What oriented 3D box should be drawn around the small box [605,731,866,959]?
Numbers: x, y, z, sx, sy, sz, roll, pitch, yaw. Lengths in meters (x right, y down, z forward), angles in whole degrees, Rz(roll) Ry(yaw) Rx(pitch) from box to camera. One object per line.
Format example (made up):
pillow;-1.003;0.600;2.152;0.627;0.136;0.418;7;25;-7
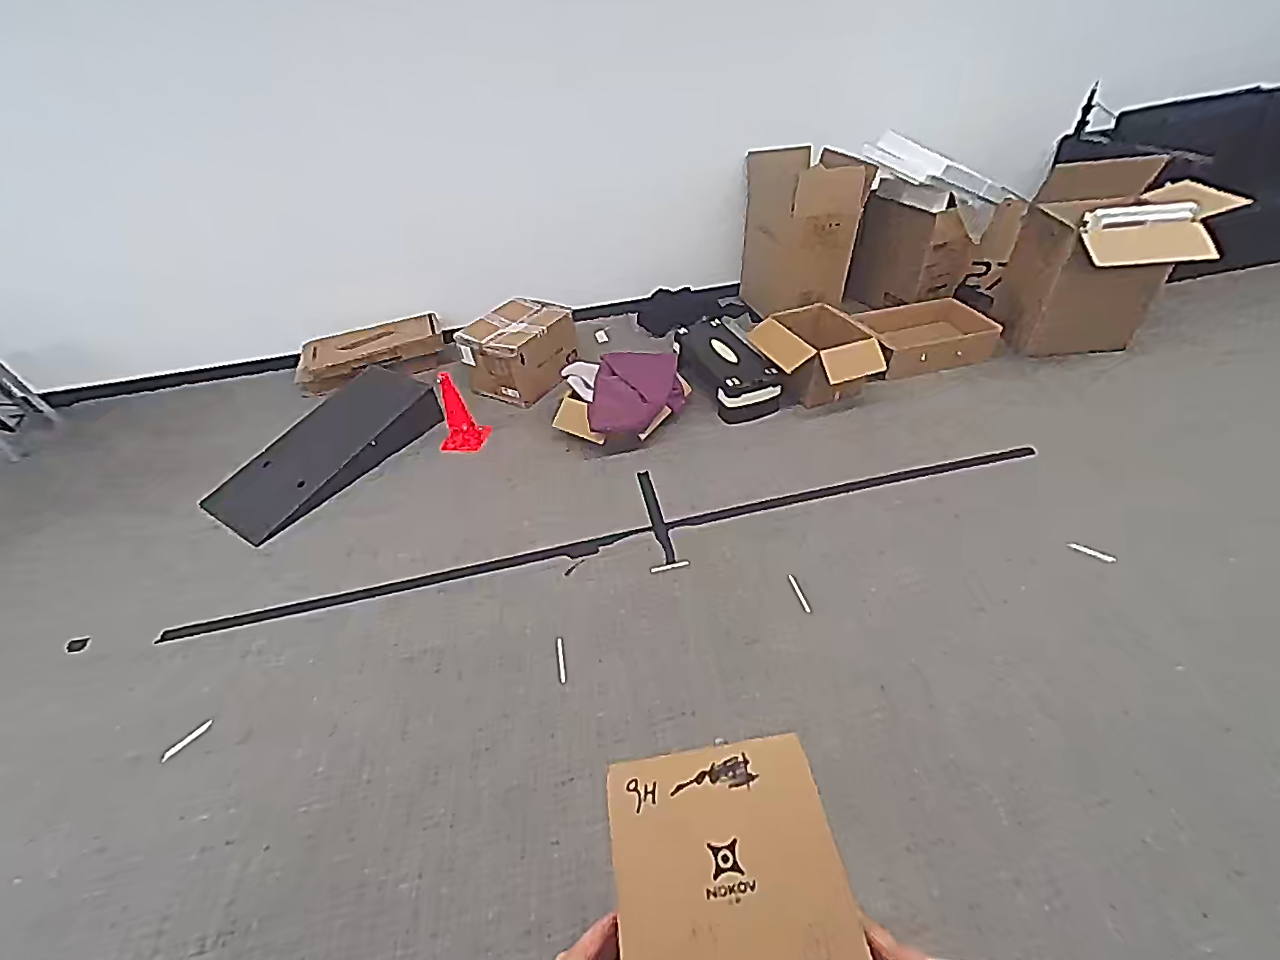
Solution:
small box;0.070;0.340;0.453;0.168;0.176;0.179;-10;46;-1
